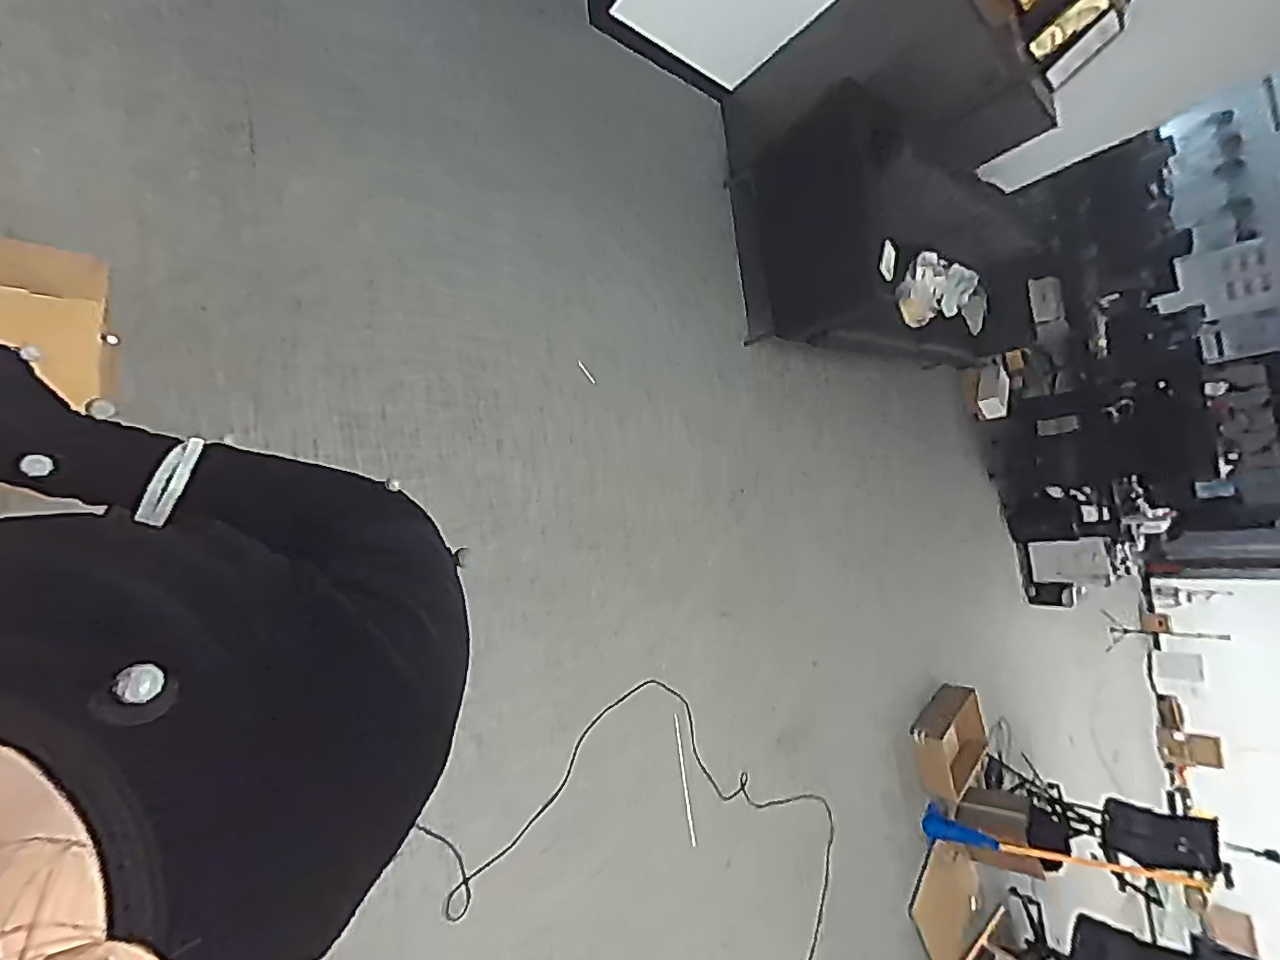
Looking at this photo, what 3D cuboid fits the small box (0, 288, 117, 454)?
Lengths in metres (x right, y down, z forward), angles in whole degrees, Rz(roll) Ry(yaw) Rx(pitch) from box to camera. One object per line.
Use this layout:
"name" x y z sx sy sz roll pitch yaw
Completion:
"small box" -0.791 -0.130 0.692 0.168 0.176 0.179 -1 83 -41
